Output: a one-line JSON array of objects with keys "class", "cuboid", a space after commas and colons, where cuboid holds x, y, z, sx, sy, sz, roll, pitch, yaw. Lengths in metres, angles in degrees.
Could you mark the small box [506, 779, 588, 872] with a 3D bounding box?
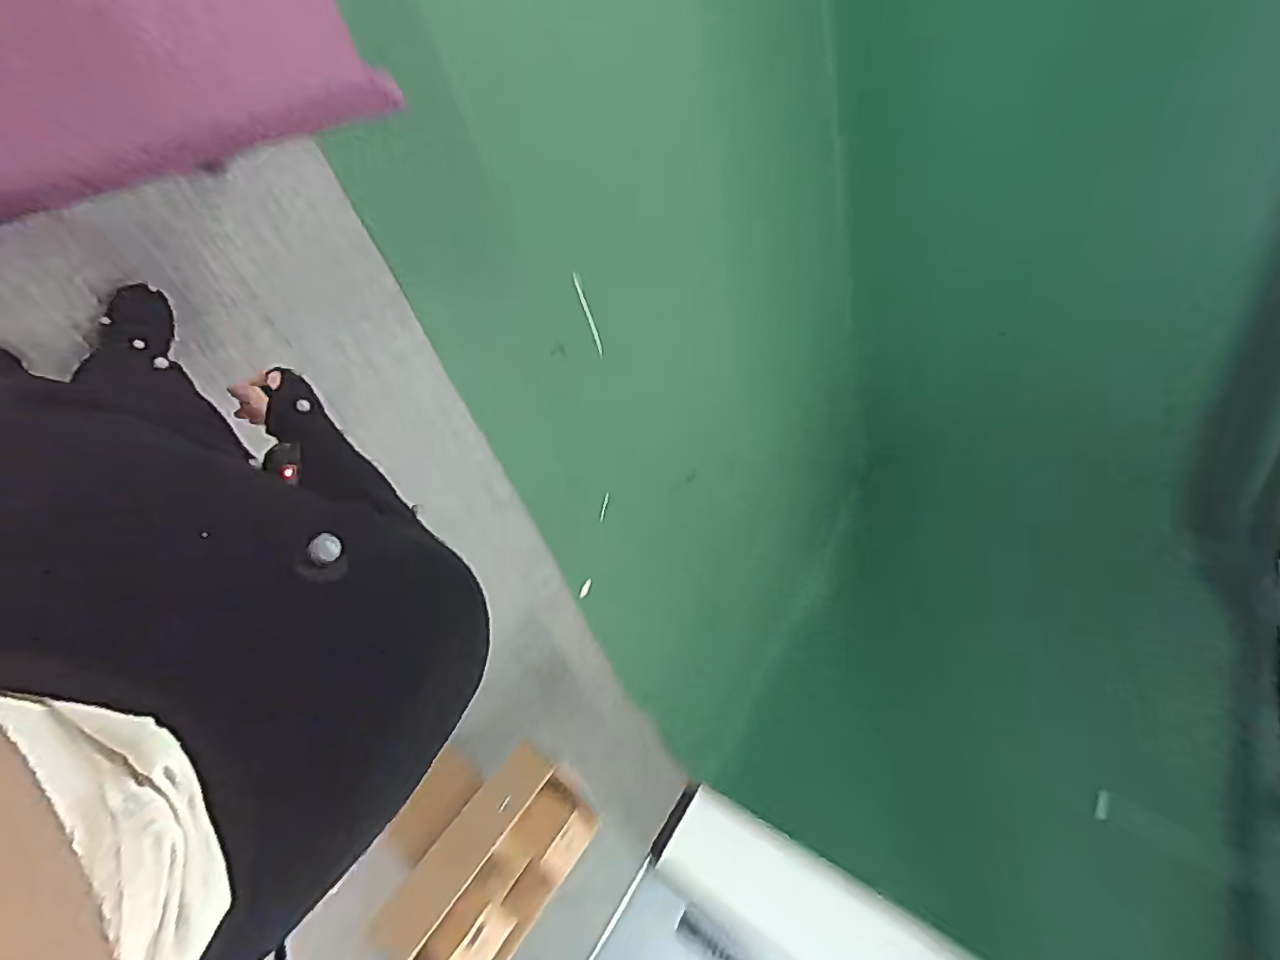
[{"class": "small box", "cuboid": [-0.304, 1.122, 1.770, 0.168, 0.176, 0.179, -45, 131, -34]}]
